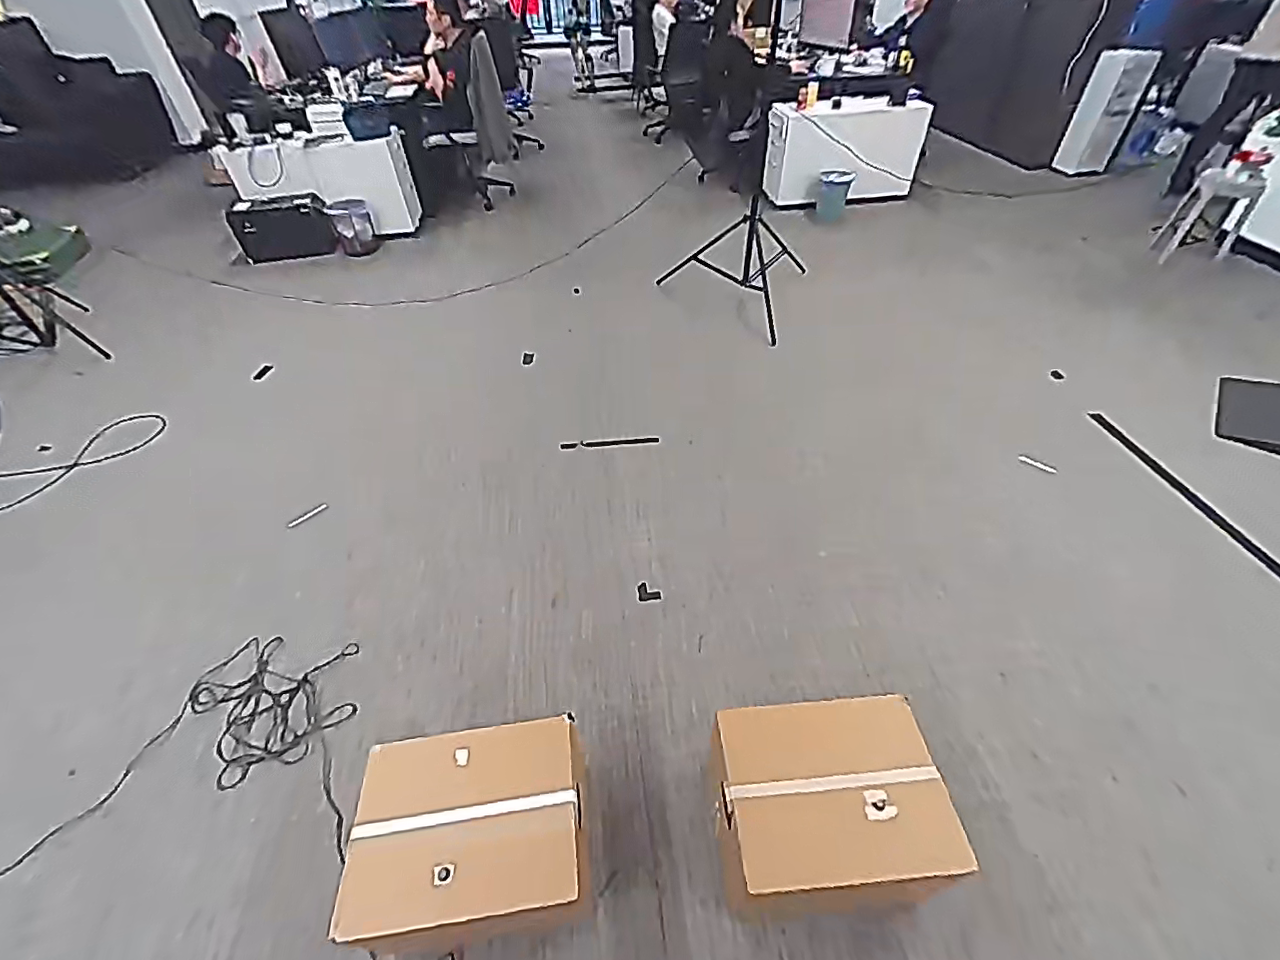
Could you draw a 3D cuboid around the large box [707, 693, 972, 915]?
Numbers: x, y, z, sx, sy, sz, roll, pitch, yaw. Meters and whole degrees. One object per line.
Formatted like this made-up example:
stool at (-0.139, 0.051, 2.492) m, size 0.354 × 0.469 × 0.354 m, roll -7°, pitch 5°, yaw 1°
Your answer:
large box at (0.374, 0.681, 1.140) m, size 0.408 × 0.320 × 0.320 m, roll -3°, pitch 45°, yaw -2°
